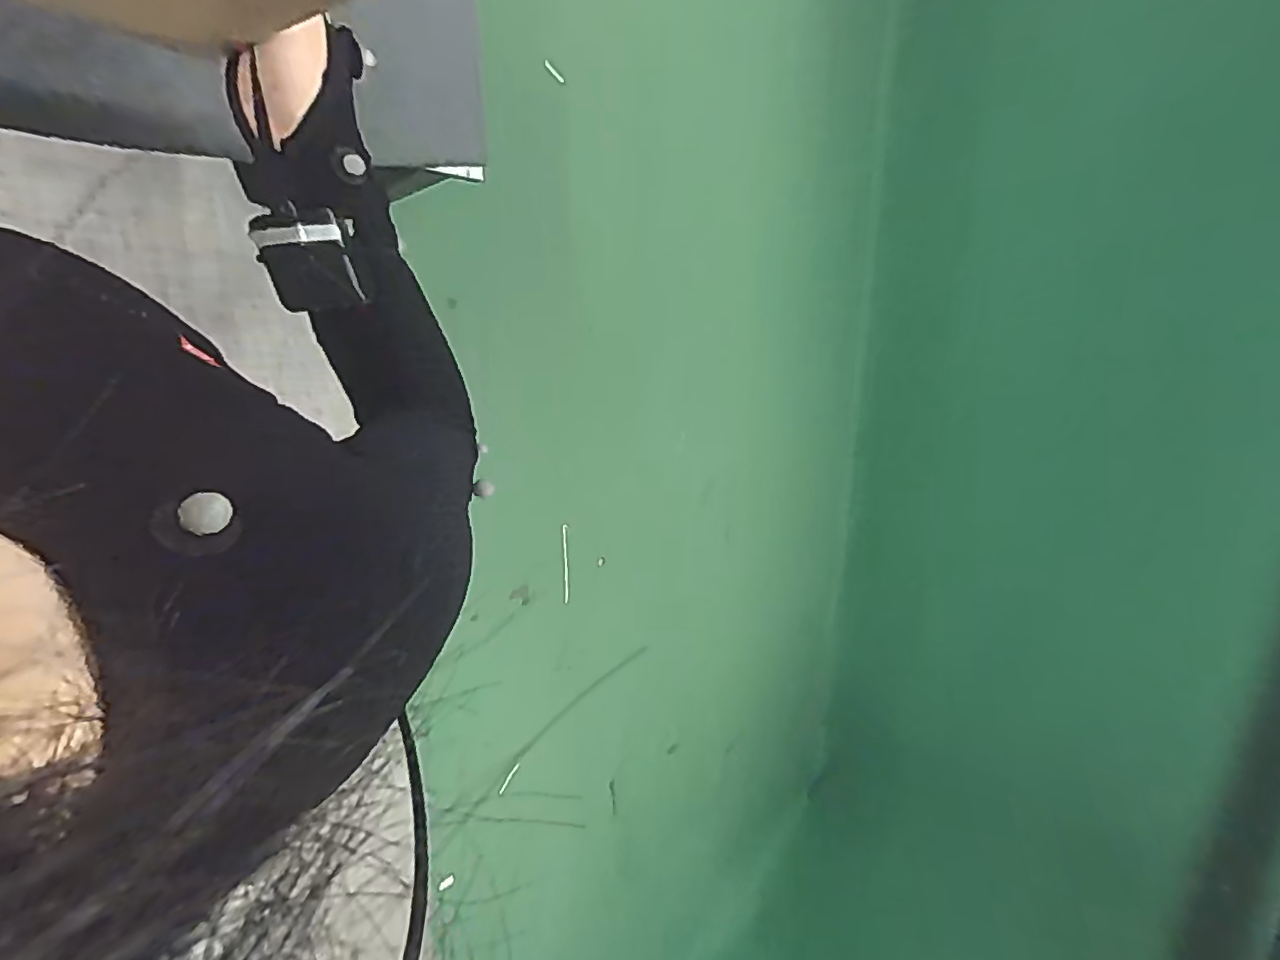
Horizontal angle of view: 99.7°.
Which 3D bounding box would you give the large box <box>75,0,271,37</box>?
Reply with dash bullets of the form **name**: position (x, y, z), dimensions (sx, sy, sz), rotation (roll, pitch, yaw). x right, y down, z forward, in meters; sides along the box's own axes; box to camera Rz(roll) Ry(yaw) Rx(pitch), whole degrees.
- **large box**: position (-0.305, -0.352, 0.090), dimensions (0.408, 0.320, 0.320), rotation (-14, 123, -46)
